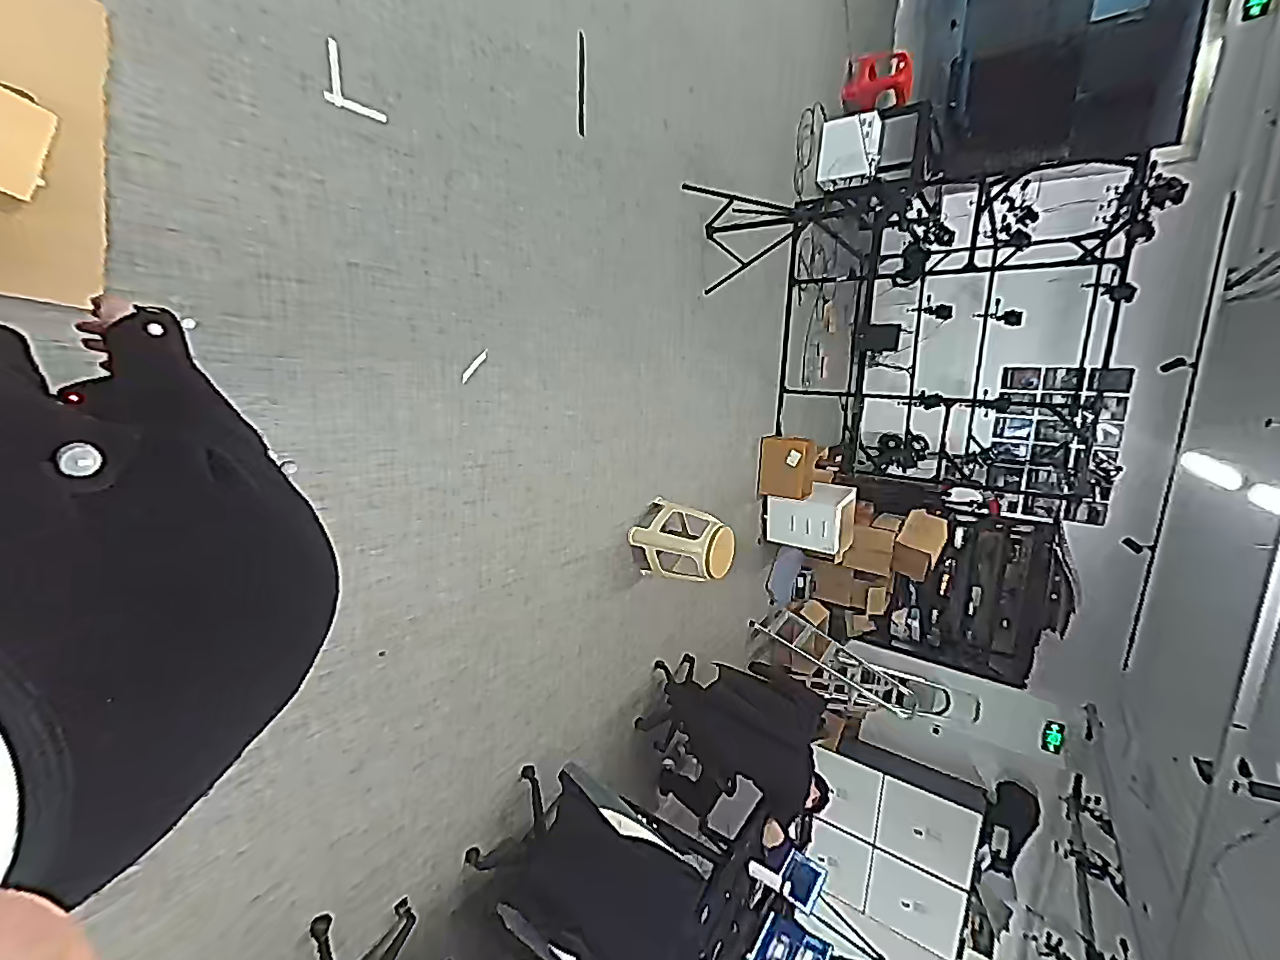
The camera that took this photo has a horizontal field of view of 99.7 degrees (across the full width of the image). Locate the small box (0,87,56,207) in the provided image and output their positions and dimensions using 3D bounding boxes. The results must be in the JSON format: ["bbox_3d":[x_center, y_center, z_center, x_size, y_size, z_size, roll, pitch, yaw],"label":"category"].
[{"bbox_3d":[-1.162,-0.593,0.923,0.179,0.176,0.168,20,82,-55],"label":"small box"}]
